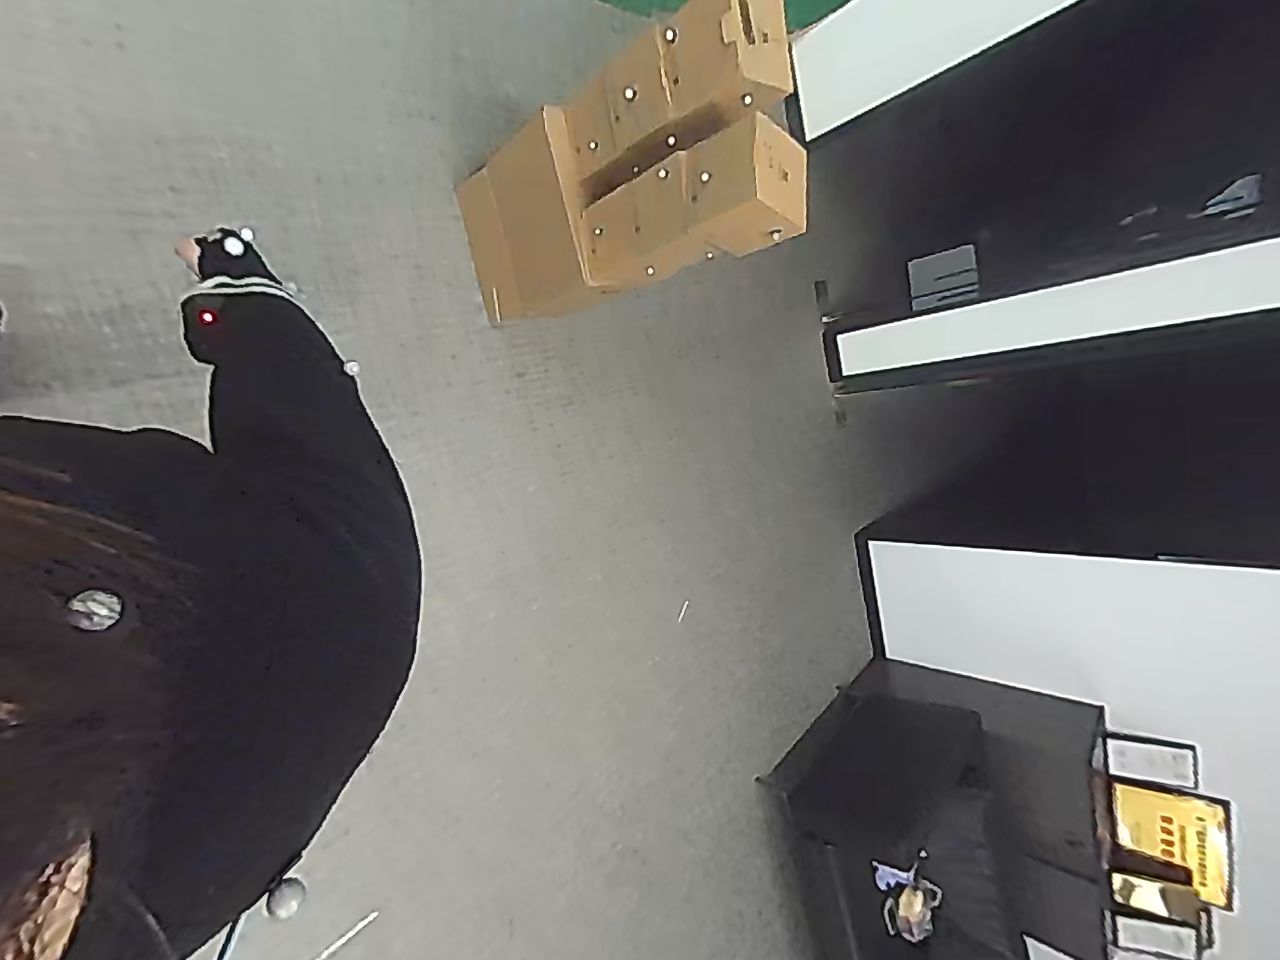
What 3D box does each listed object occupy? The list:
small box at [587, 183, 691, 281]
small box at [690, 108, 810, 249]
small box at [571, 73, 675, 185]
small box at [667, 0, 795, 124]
[{"bbox_3d":[-0.003,-0.595,1.322,0.179,0.176,0.168,-15,98,-40],"label":"small box"},{"bbox_3d":[0.221,-0.584,1.080,0.179,0.176,0.168,2,88,-42],"label":"small box"},{"bbox_3d":[-0.046,-0.824,1.289,0.179,0.176,0.168,-21,105,-40],"label":"small box"},{"bbox_3d":[0.169,-0.817,1.042,0.179,0.176,0.168,-24,107,-40],"label":"small box"}]
